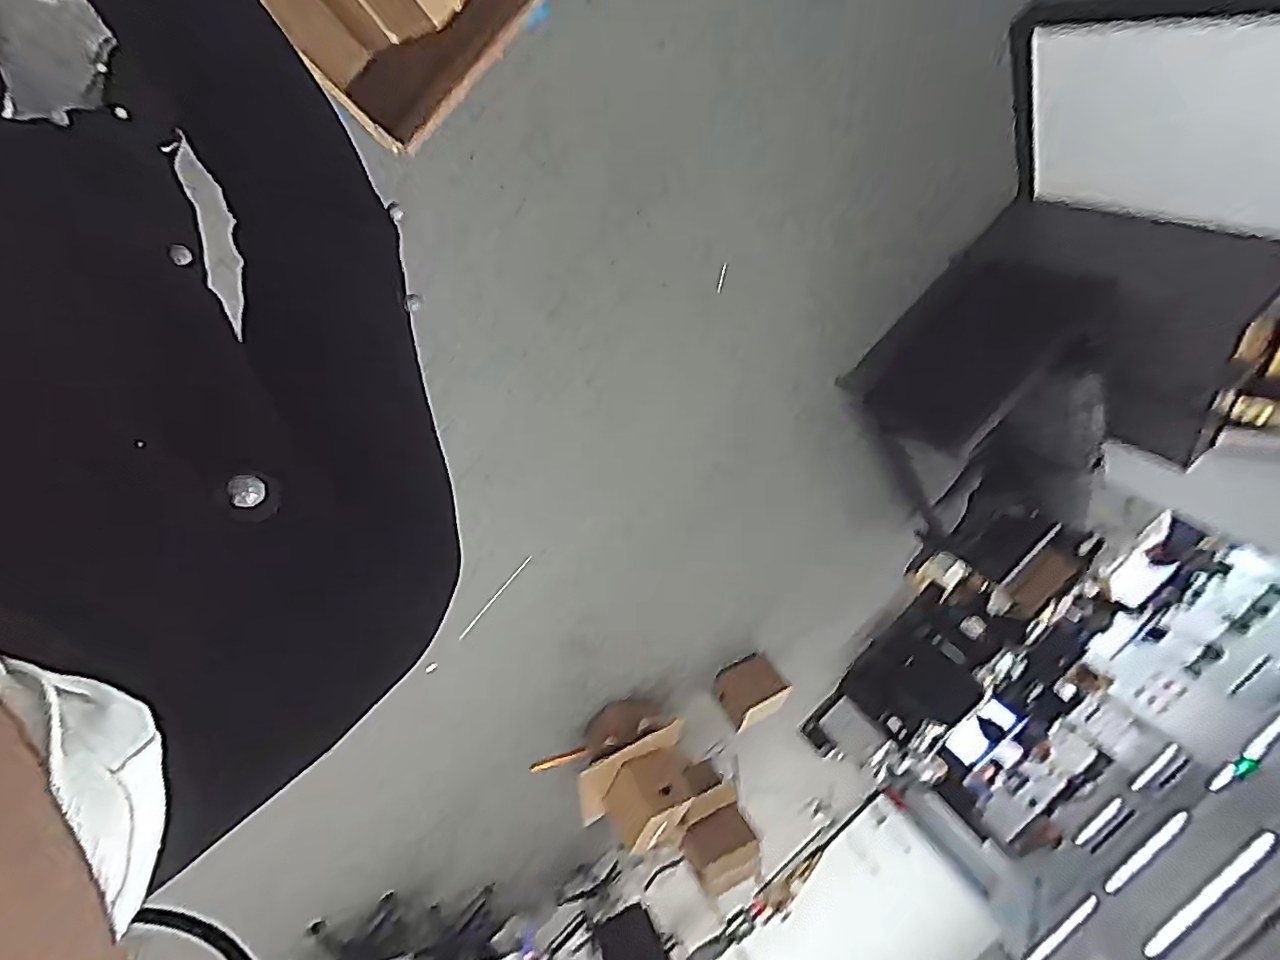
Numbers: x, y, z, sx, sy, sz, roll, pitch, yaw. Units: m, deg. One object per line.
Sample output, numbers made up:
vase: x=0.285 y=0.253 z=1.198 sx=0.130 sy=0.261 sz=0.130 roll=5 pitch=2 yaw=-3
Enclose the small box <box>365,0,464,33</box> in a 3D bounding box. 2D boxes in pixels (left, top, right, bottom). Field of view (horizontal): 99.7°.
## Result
small box: x=-0.207 y=-0.527 z=0.459 sx=0.168 sy=0.176 sz=0.179 roll=-47 pitch=137 yaw=1
